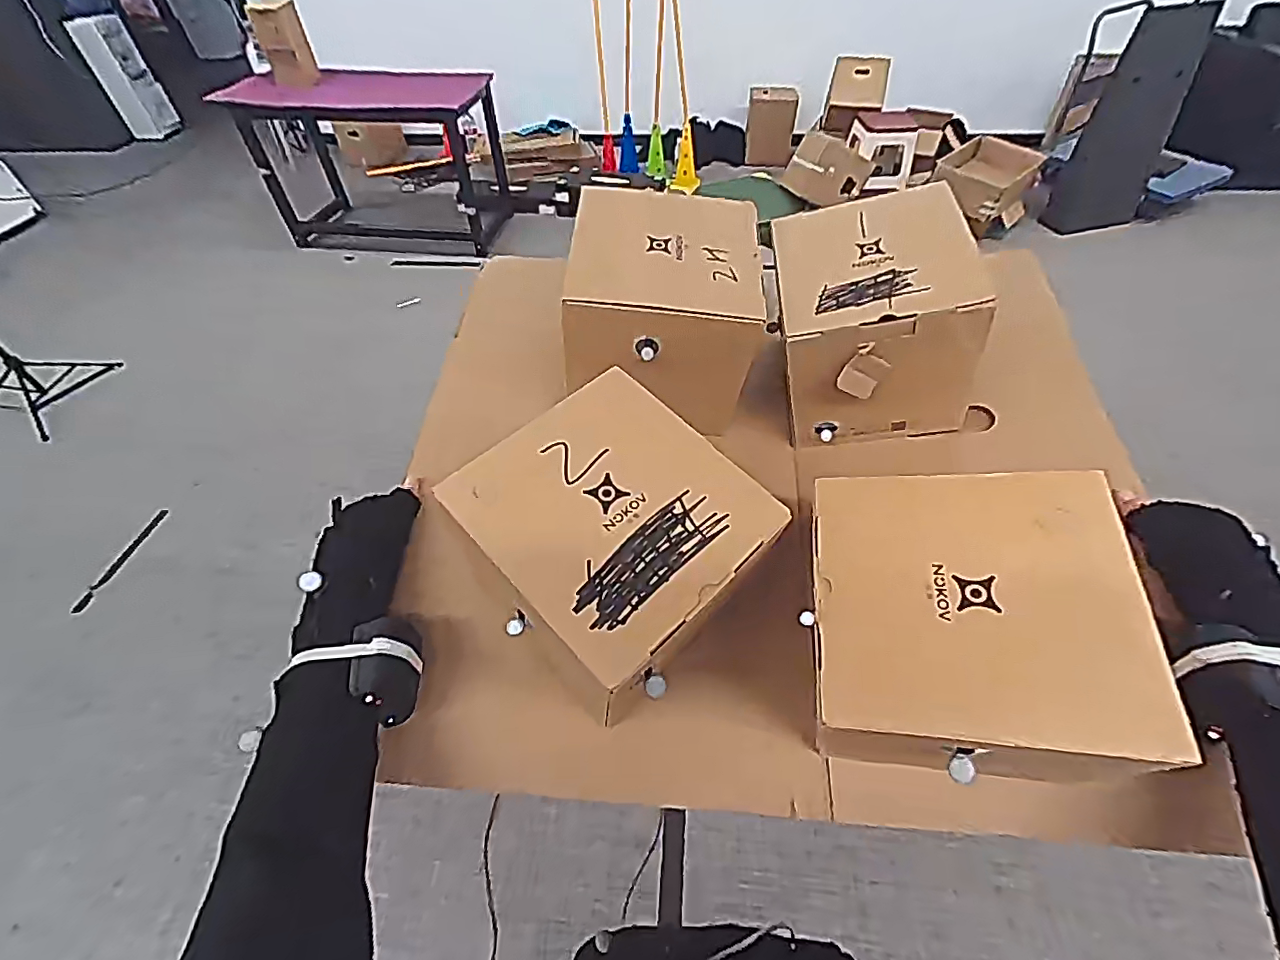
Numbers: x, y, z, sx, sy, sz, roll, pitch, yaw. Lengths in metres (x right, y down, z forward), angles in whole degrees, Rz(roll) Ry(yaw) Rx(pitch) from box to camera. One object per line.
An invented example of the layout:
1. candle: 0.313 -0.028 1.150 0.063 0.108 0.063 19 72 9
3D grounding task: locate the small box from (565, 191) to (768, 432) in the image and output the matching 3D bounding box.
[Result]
1. small box: 0.022 -0.166 0.563 0.179 0.176 0.168 6 60 -2
